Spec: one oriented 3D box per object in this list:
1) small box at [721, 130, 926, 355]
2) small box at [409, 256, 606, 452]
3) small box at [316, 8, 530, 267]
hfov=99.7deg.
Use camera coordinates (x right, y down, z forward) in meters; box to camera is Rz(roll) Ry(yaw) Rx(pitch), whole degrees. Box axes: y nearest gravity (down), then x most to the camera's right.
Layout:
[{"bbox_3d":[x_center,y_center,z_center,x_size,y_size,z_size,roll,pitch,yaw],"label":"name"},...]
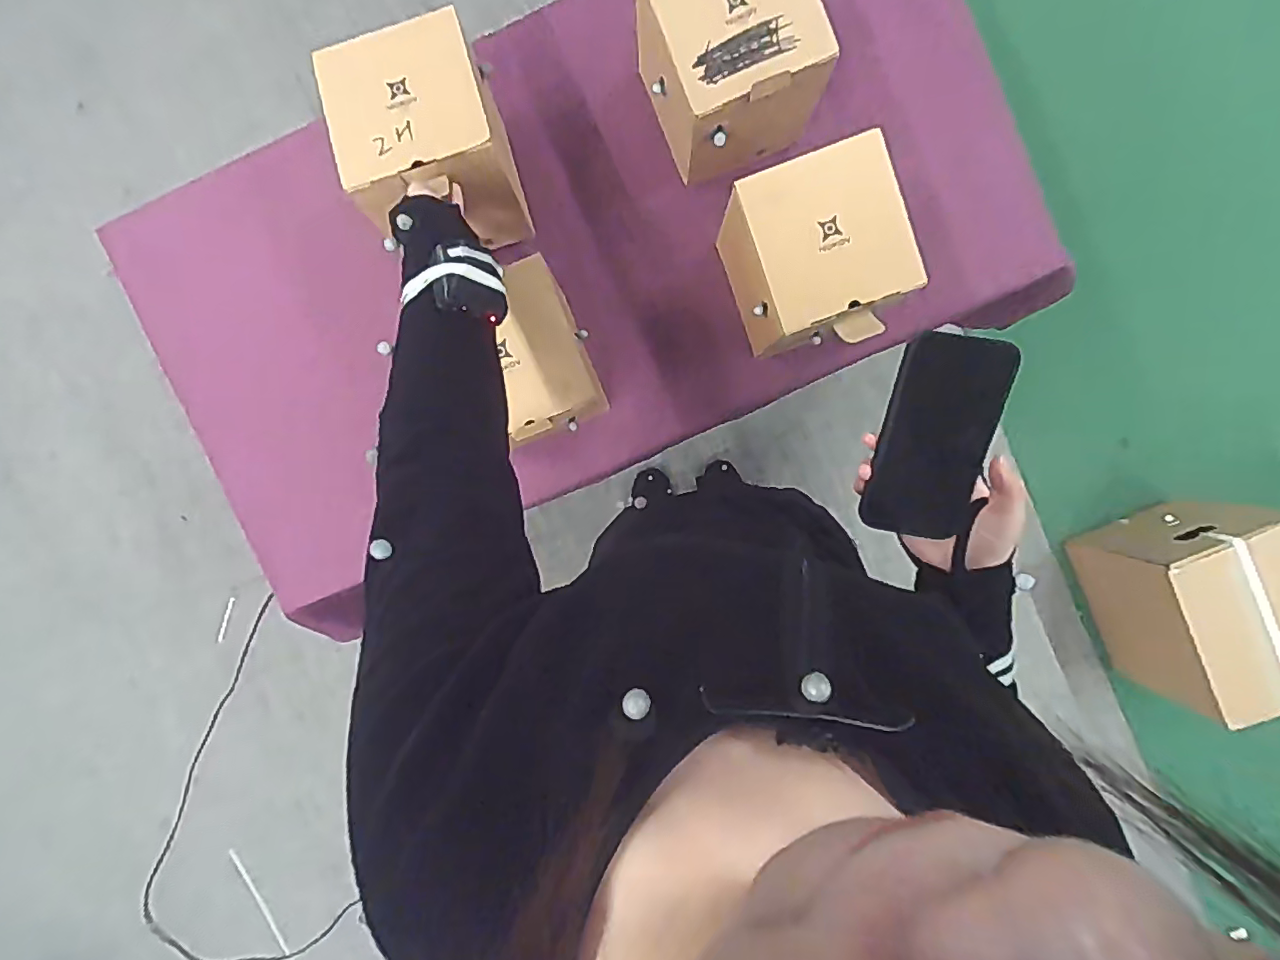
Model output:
[{"bbox_3d":[0.206,-0.271,0.661,0.168,0.176,0.179,-19,93,3],"label":"small box"},{"bbox_3d":[-0.150,-0.144,0.681,0.168,0.176,0.179,-21,92,3],"label":"small box"},{"bbox_3d":[-0.247,-0.394,0.649,0.168,0.176,0.179,-16,82,2],"label":"small box"}]
